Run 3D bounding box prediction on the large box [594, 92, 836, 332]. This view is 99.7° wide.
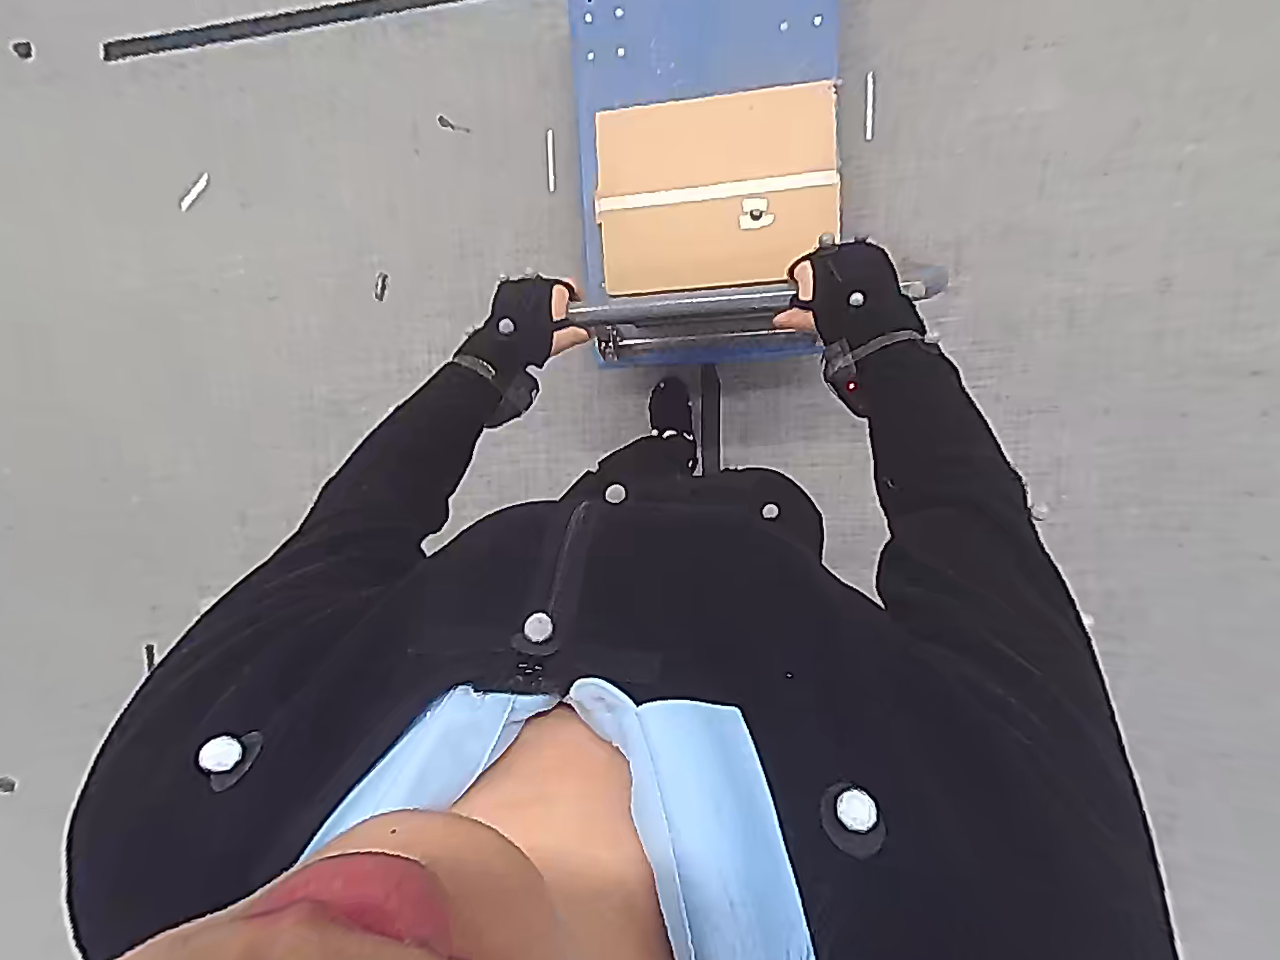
[{"bbox_3d":[0.142,-0.492,1.075,0.408,0.320,0.320,-3,96,7],"label":"large box"}]
